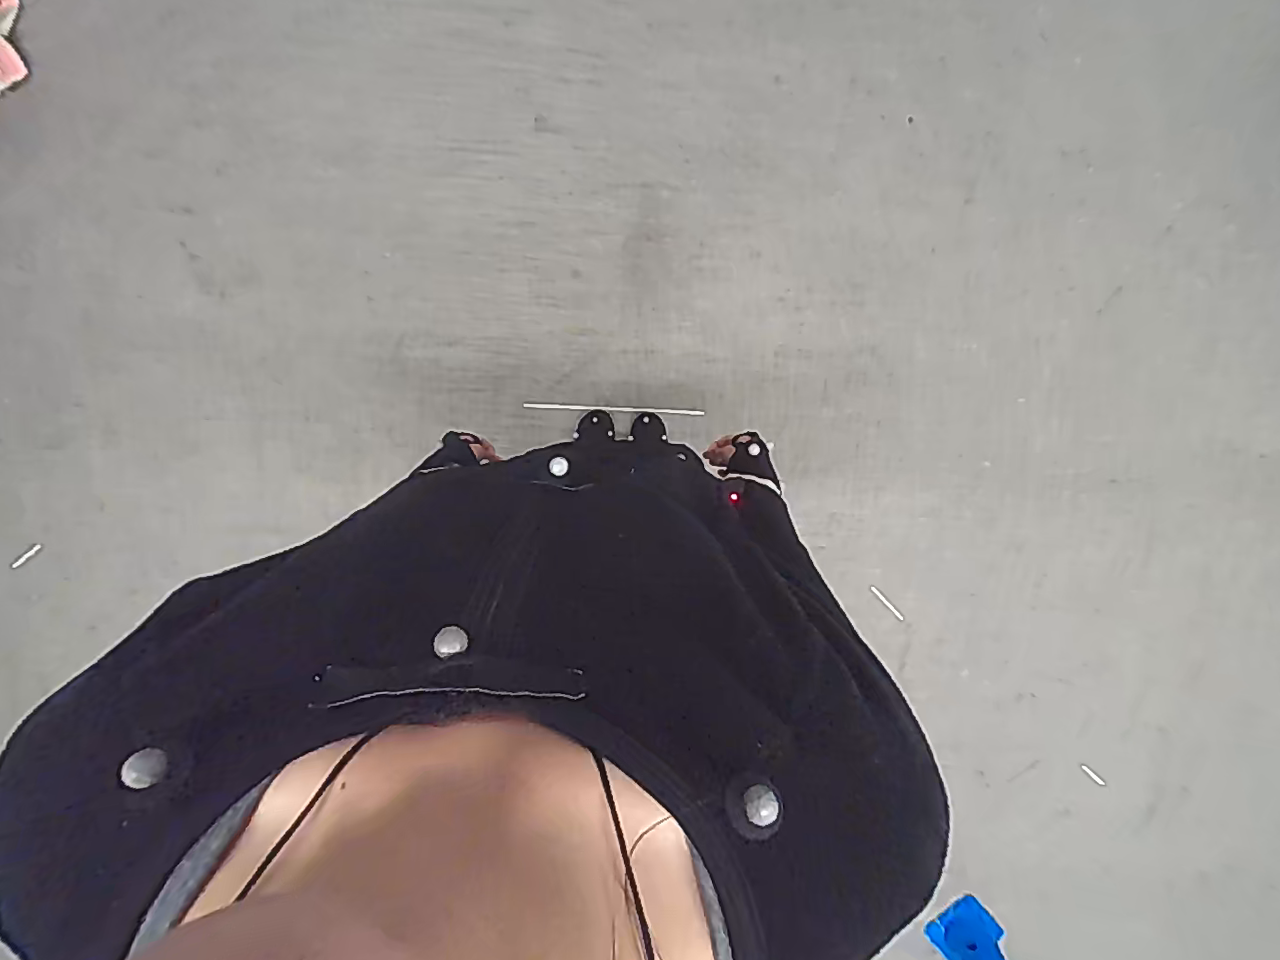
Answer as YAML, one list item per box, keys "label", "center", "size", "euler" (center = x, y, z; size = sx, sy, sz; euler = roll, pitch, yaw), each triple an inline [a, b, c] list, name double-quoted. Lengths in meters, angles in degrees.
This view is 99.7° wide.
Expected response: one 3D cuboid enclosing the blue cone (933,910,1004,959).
- label: "blue cone"
  center: [1.044, 1.479, 1.541]
  size: [0.193, 0.380, 0.192]
  euler: [-42, 96, 2]
